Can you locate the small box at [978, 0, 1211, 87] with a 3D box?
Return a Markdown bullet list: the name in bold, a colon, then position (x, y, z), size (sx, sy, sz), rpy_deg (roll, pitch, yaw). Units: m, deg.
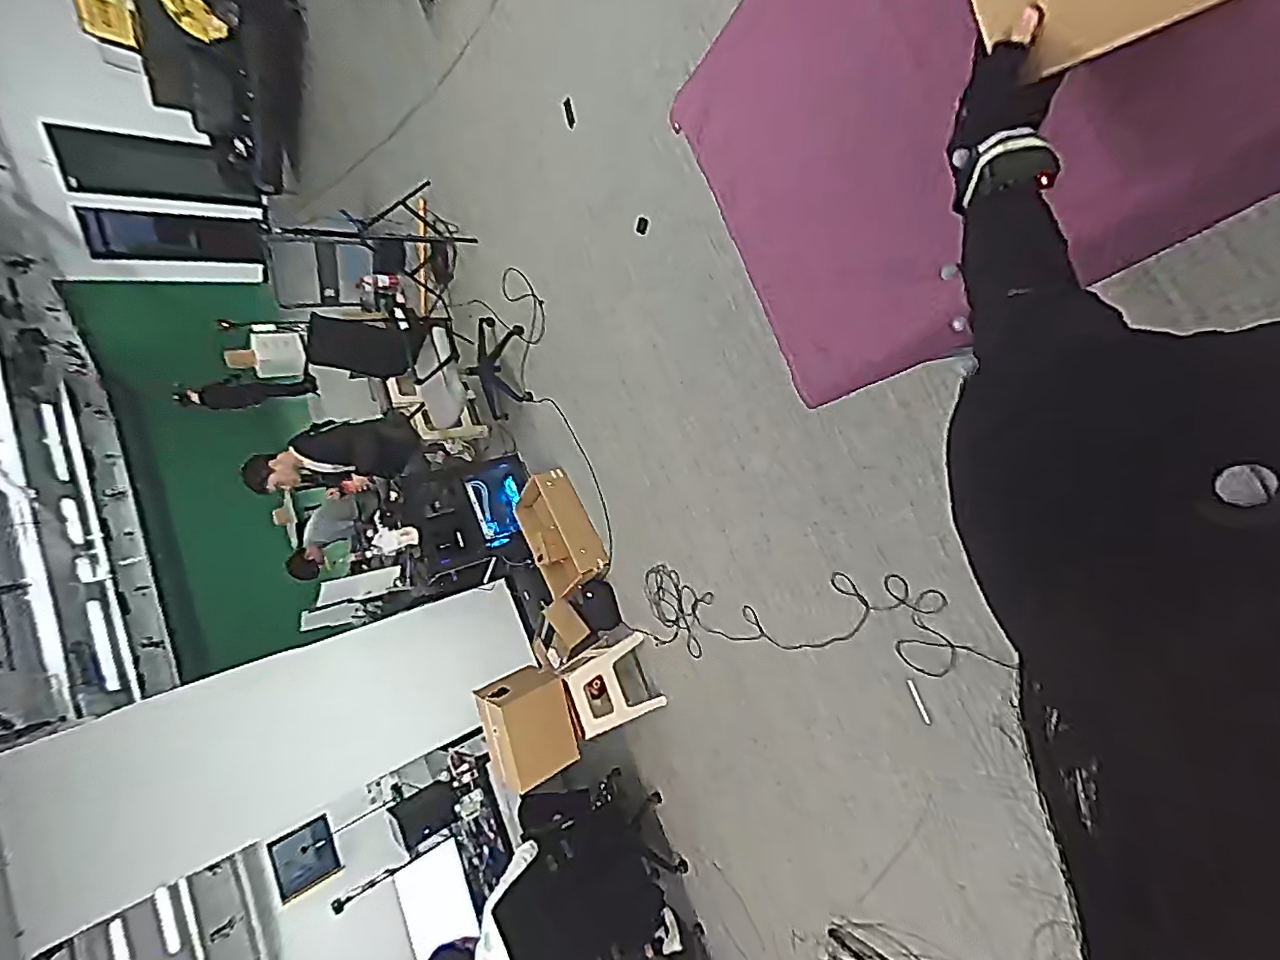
- **small box**: position (0.408, -0.494, 0.448), size (0.168, 0.176, 0.179), rpy_deg (42, 167, -28)
